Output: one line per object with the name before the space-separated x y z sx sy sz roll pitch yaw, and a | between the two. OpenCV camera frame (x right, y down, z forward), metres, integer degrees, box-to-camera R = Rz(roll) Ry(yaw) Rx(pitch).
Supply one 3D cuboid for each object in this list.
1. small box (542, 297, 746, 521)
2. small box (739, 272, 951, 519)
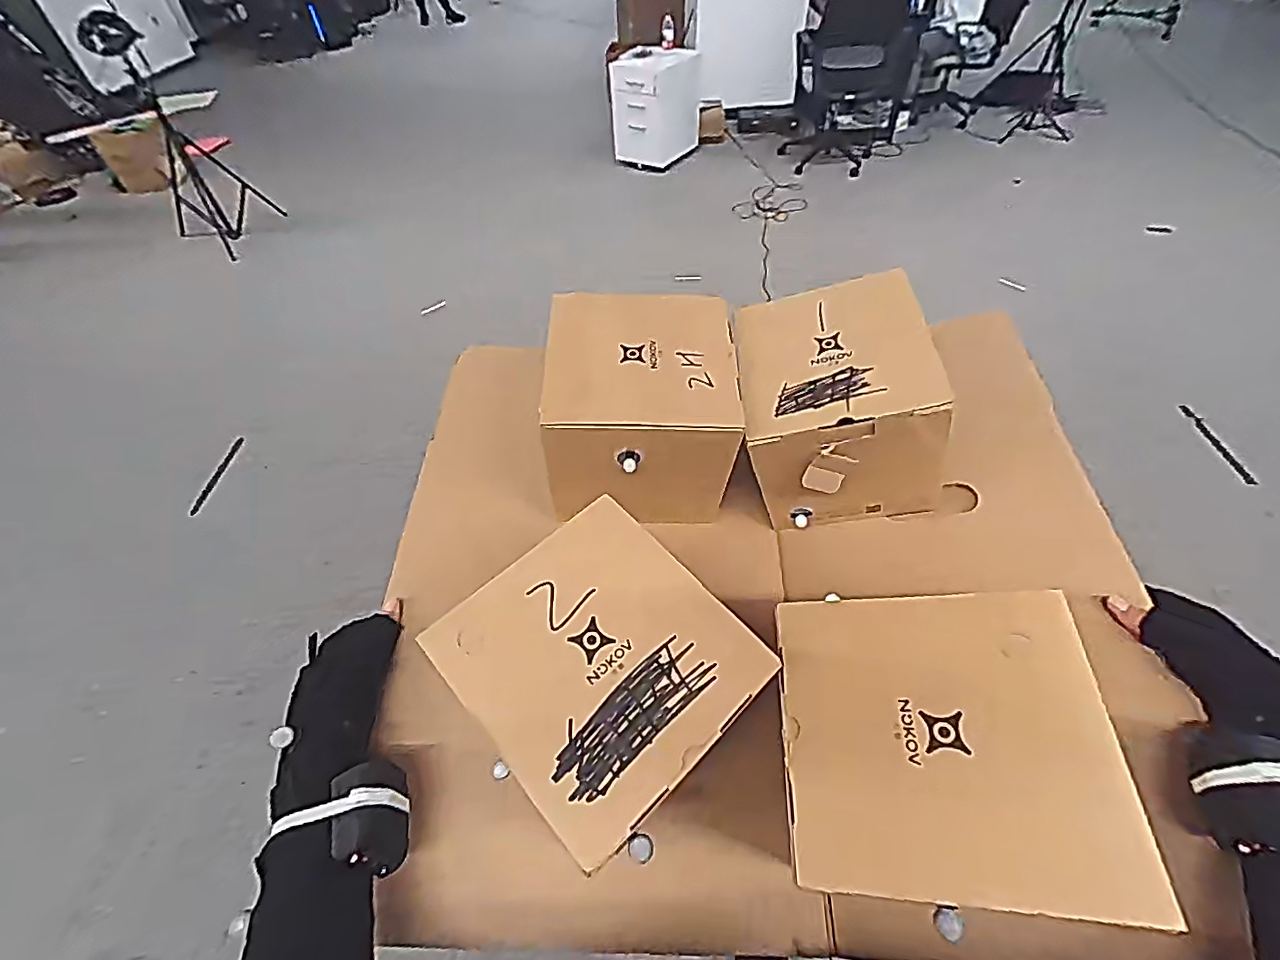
small box | 0.002 -0.067 0.563 0.179 0.176 0.168 2 58 -2
small box | 0.202 -0.072 0.555 0.168 0.176 0.179 -9 54 18
